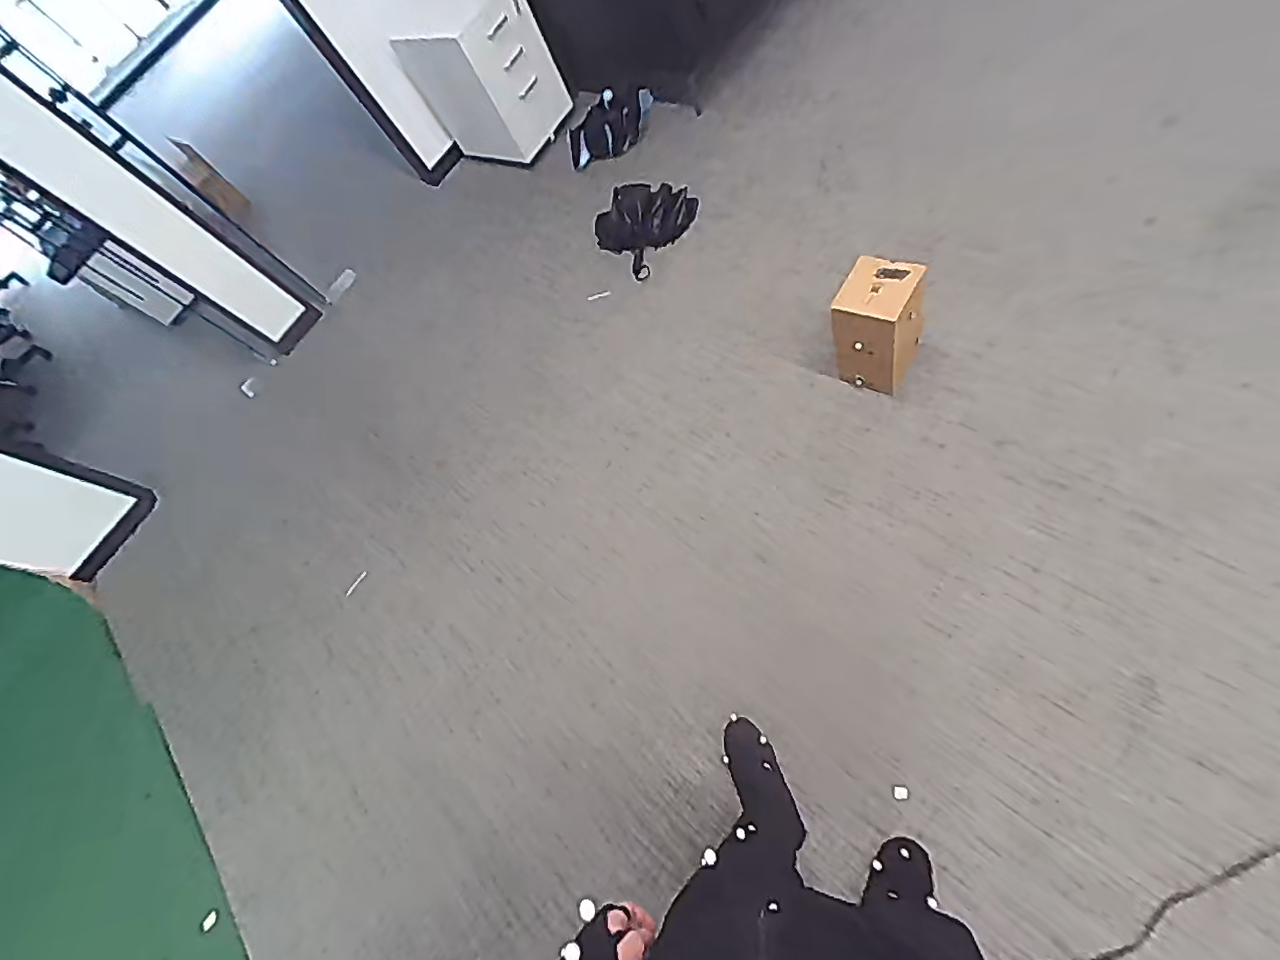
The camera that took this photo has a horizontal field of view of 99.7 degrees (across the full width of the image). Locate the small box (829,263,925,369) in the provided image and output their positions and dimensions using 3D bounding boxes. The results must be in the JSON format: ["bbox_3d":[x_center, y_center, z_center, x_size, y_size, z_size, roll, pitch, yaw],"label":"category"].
[{"bbox_3d":[0.605,-0.420,1.390,0.168,0.176,0.179,27,78,31],"label":"small box"}]

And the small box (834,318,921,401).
[{"bbox_3d":[0.667,-0.357,1.529,0.168,0.176,0.179,27,80,31],"label":"small box"}]
